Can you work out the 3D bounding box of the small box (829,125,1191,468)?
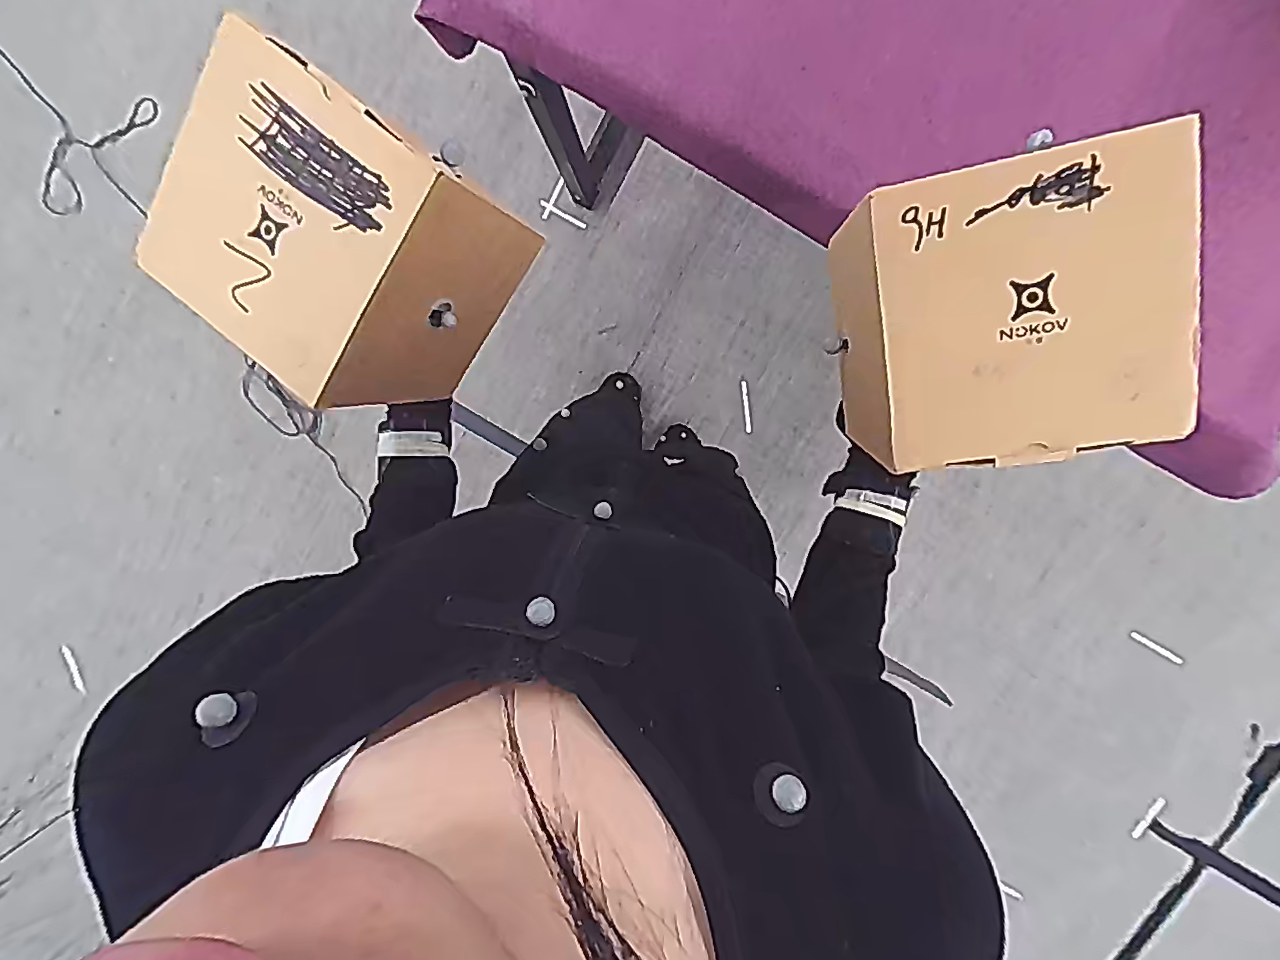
[{"bbox_3d":[0.244,-0.120,0.402,0.168,0.176,0.179,-8,102,12],"label":"small box"}]
